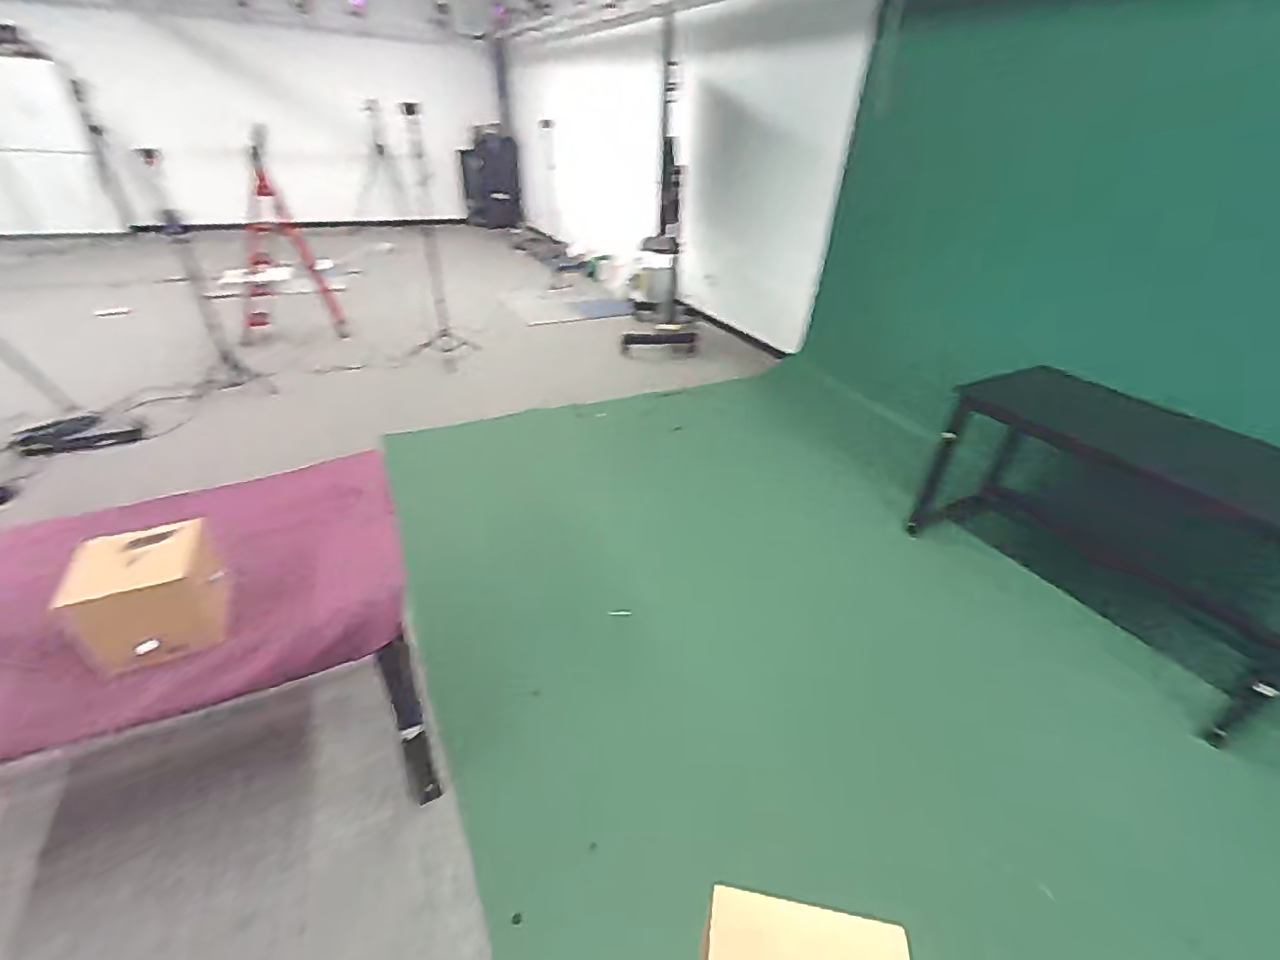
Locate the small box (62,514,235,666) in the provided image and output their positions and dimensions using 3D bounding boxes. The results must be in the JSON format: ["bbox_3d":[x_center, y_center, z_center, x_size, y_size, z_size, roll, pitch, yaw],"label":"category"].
[{"bbox_3d":[-0.845,0.190,0.955,0.168,0.176,0.179,-13,37,-23],"label":"small box"}]

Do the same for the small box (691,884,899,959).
[{"bbox_3d":[0.119,0.484,0.447,0.168,0.176,0.179,5,36,9],"label":"small box"}]
